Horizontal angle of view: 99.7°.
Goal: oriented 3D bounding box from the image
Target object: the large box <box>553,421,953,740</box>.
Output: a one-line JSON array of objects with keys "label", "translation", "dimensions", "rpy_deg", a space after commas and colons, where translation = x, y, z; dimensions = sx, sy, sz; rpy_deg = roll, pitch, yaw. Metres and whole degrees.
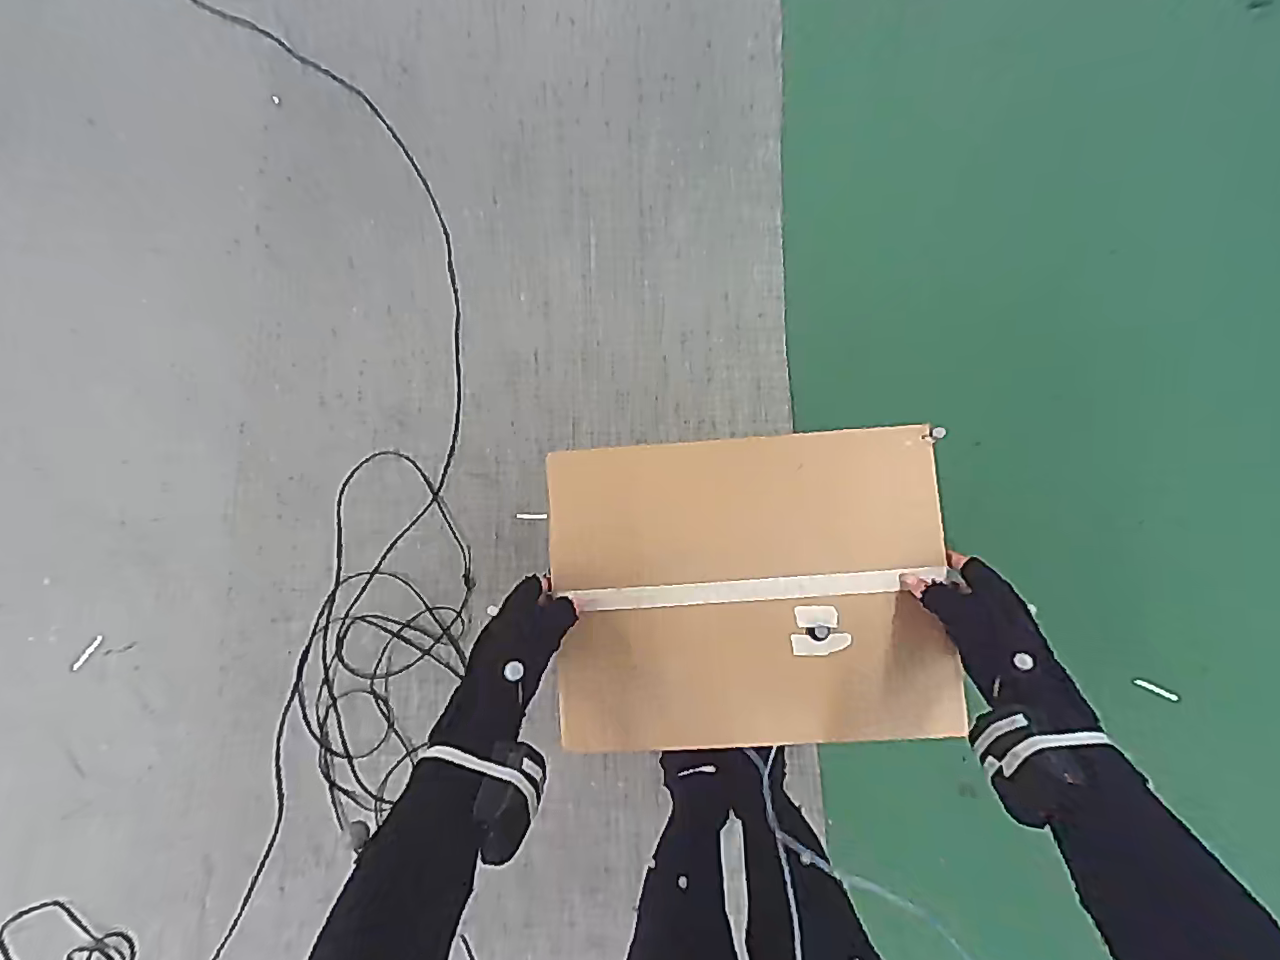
[{"label": "large box", "translation": [0.118, 0.122, 0.723], "dimensions": [0.408, 0.320, 0.320], "rpy_deg": [-4, 84, 2]}]
